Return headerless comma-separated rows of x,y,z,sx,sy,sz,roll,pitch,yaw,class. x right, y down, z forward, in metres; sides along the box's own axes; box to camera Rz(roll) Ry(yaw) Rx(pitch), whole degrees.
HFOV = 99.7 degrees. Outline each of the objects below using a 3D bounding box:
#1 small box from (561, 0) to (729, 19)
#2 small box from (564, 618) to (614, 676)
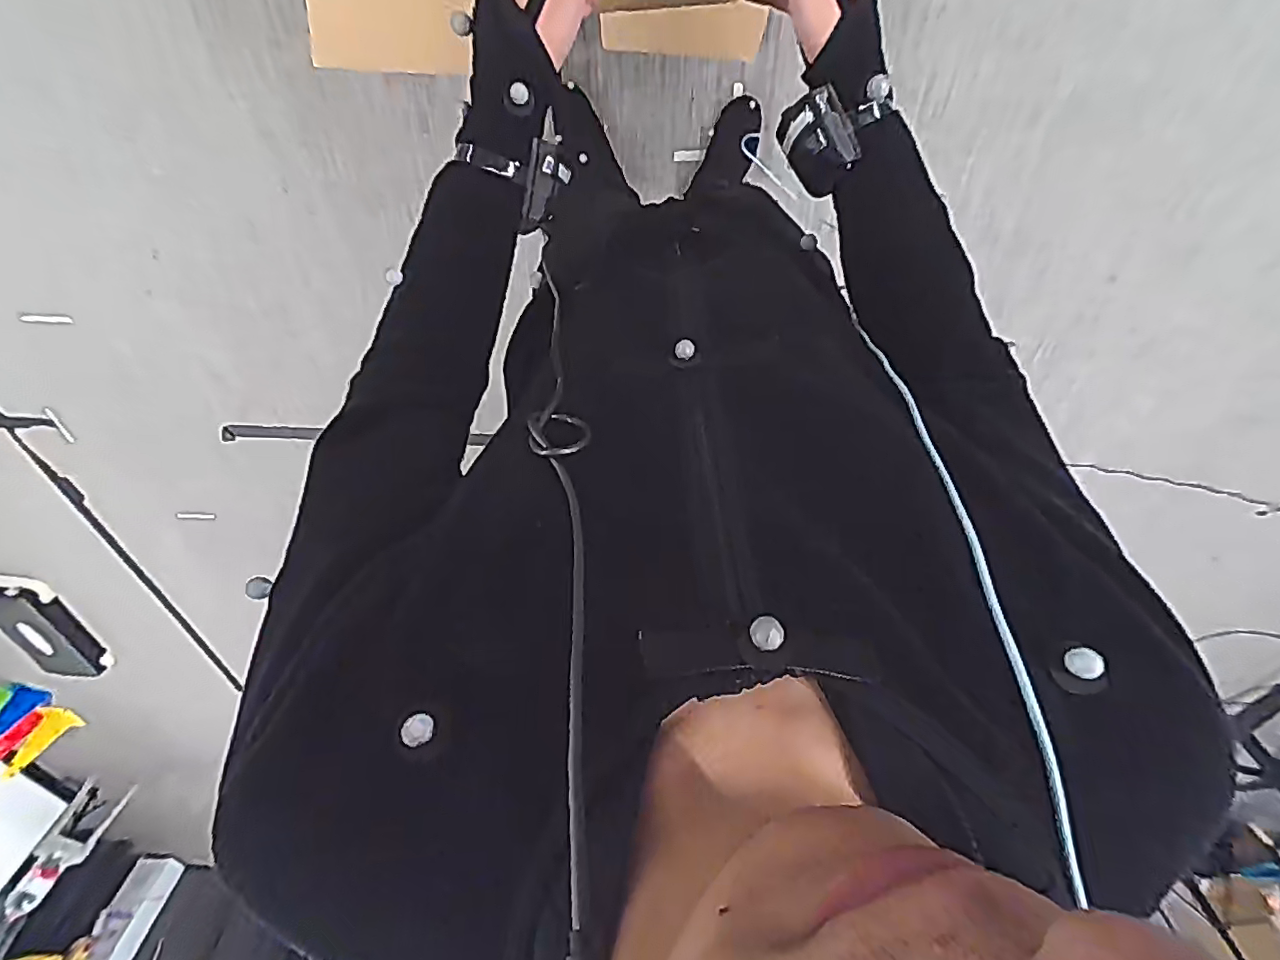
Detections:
0.010,-0.487,0.422,0.179,0.176,0.168,-6,121,-2,small box
-0.206,0.684,2.228,0.179,0.176,0.168,1,129,3,small box
